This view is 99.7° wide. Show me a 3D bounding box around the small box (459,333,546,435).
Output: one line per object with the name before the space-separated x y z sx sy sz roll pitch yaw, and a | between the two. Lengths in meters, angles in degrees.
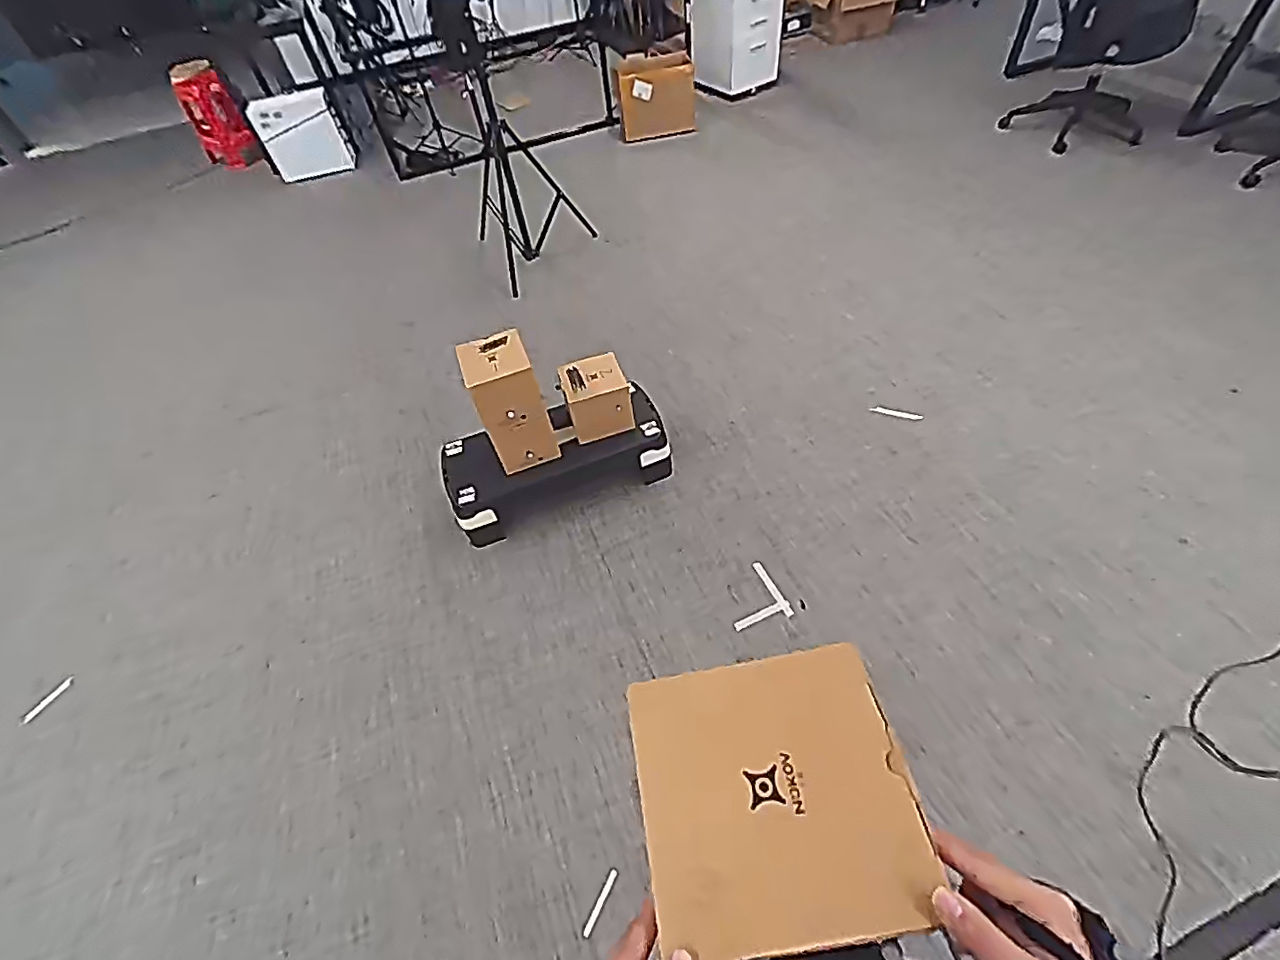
small box | -0.360 -0.251 1.425 0.168 0.176 0.179 -20 53 -8

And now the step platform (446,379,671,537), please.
step platform | -0.253 -0.080 1.710 0.684 0.204 0.286 -21 52 -9

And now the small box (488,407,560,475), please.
small box | -0.341 -0.147 1.551 0.168 0.176 0.179 -20 52 -7

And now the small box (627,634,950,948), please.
small box | 0.097 0.243 0.424 0.179 0.176 0.168 -11 53 1
